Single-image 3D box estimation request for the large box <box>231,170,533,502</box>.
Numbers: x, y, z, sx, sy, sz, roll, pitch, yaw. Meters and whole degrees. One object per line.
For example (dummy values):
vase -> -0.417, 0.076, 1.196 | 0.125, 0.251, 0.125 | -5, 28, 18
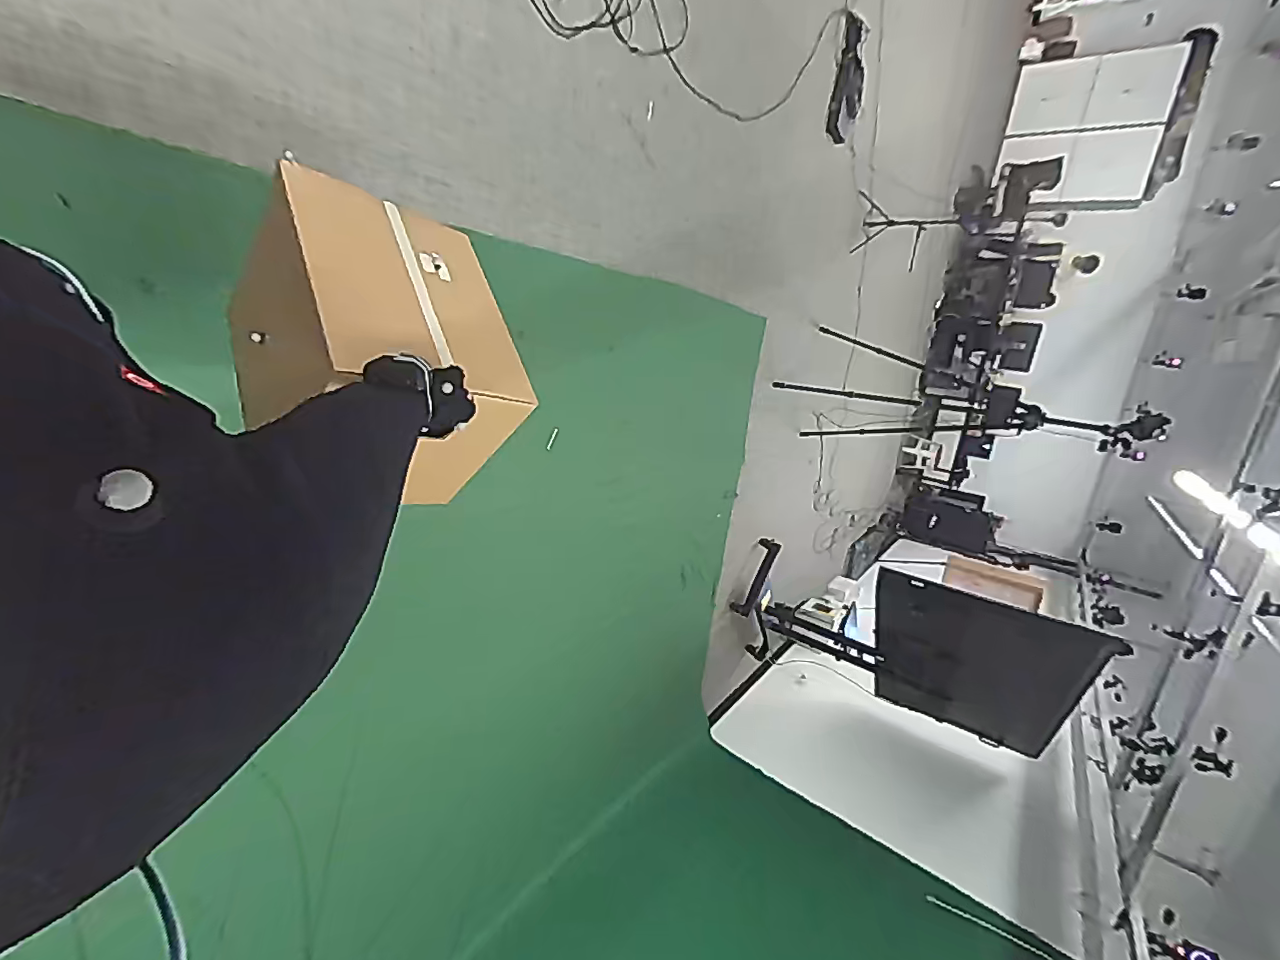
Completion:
large box -> -0.450, -0.210, 0.920 | 0.320, 0.408, 0.320 | -40, 155, 31
